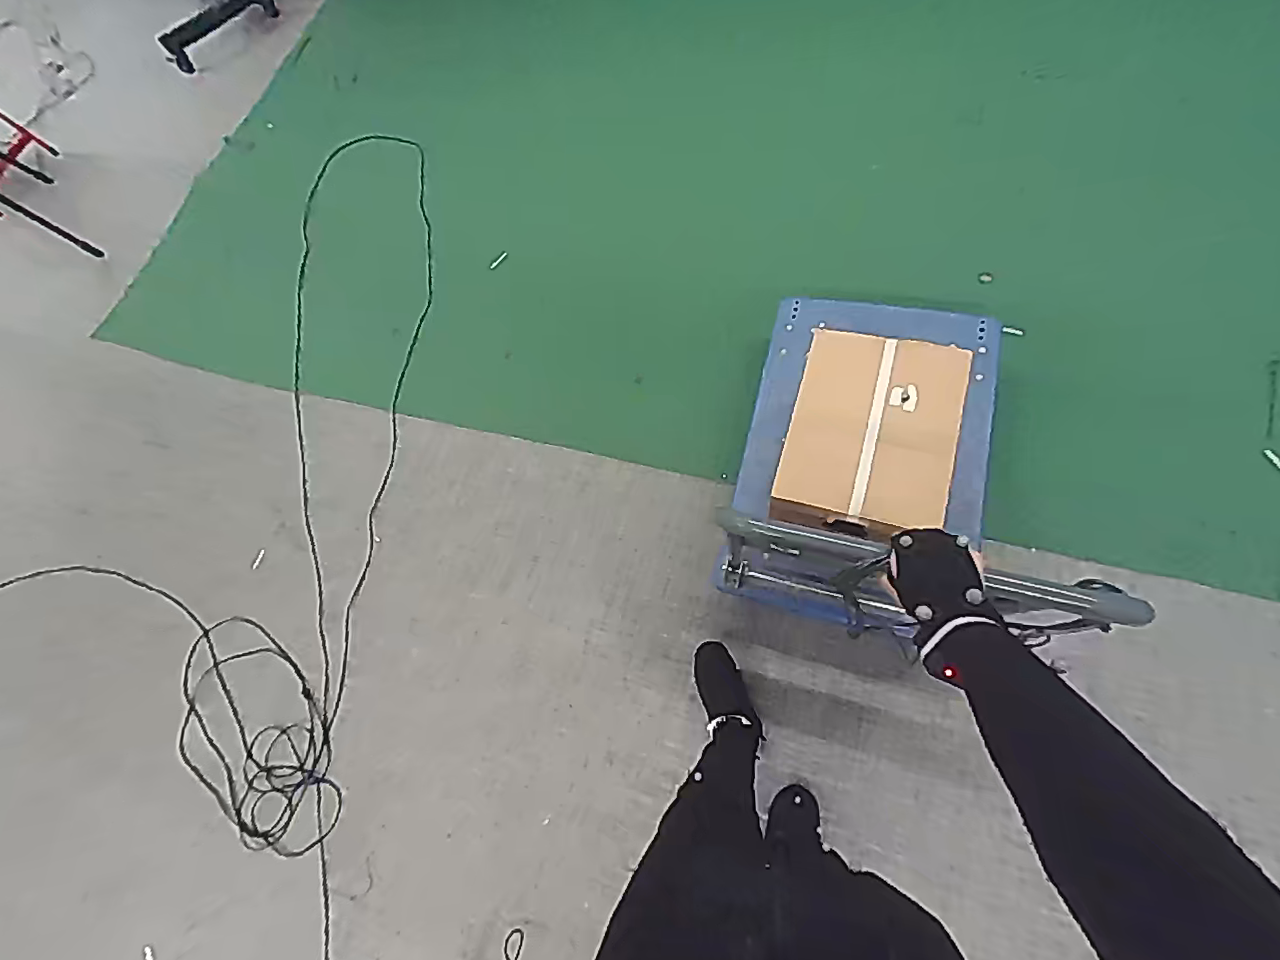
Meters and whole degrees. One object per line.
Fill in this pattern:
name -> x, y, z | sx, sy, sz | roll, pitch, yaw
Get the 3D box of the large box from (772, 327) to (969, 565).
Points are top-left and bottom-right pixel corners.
large box -> 0.490, -0.065, 1.207 | 0.320, 0.320, 0.408 | 15, 73, 16
